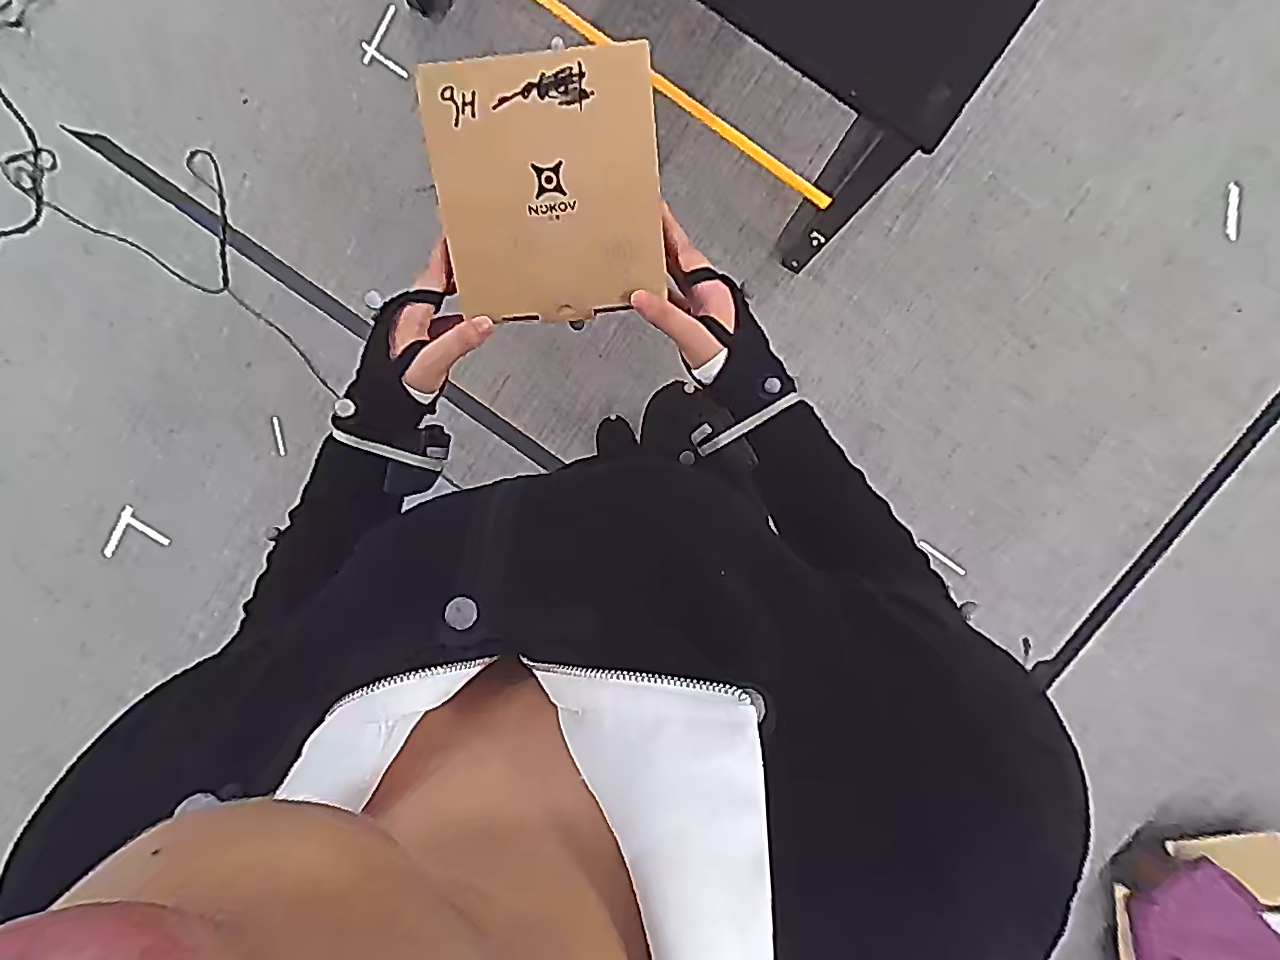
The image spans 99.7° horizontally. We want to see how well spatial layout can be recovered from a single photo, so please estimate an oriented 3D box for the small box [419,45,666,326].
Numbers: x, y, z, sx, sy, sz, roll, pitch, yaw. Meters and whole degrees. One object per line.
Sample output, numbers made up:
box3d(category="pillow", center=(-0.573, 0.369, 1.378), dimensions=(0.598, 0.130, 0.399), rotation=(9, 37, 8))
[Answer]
box3d(category="small box", center=(-0.066, -0.241, 0.476), dimensions=(0.168, 0.176, 0.179), rotation=(-6, 111, 1))
